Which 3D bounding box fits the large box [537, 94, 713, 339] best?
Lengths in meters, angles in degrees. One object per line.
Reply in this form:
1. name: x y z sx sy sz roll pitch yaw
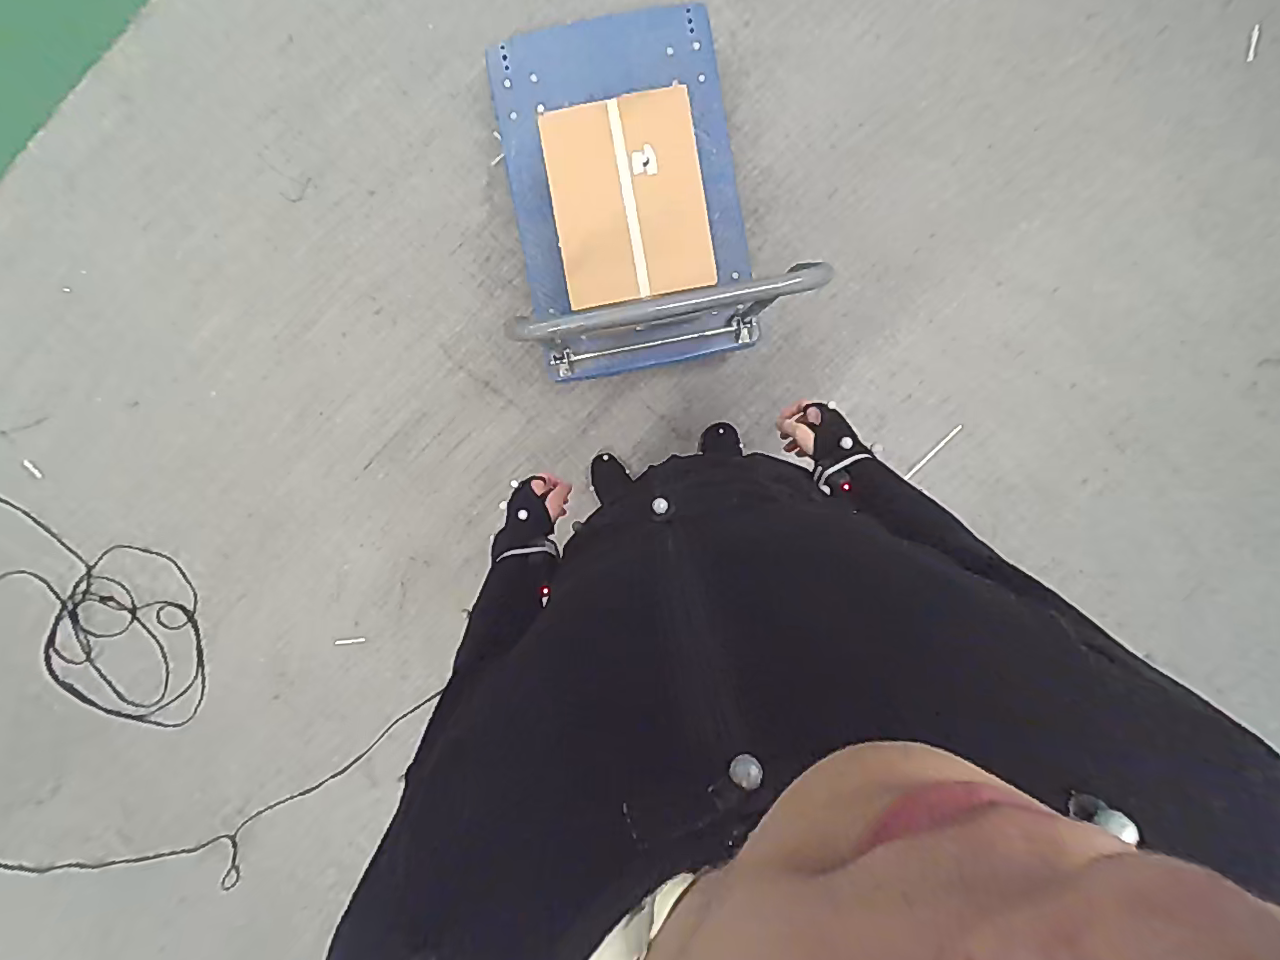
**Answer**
1. large box: -0.026 -0.587 1.281 0.320 0.320 0.408 -10 93 1
